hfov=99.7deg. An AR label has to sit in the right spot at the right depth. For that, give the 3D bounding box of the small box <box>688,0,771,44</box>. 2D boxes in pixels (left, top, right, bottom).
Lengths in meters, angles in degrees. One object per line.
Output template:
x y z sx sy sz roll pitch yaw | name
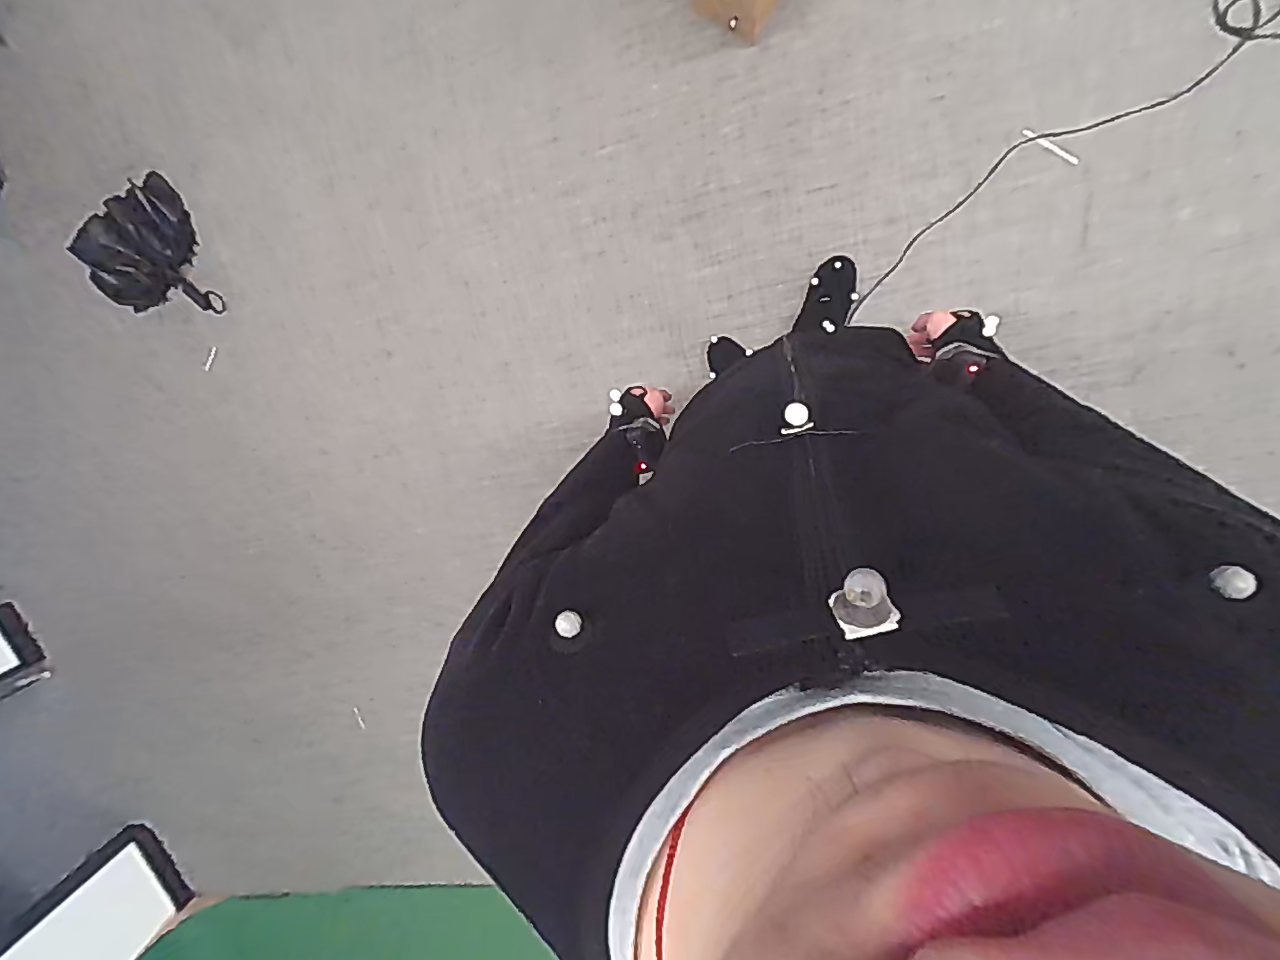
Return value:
0.207 -1.090 1.153 0.168 0.176 0.179 30 110 -1 | small box

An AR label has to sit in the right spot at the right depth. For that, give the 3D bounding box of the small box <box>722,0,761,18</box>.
0.194 -1.028 1.000 0.168 0.176 0.179 37 111 -3 | small box
